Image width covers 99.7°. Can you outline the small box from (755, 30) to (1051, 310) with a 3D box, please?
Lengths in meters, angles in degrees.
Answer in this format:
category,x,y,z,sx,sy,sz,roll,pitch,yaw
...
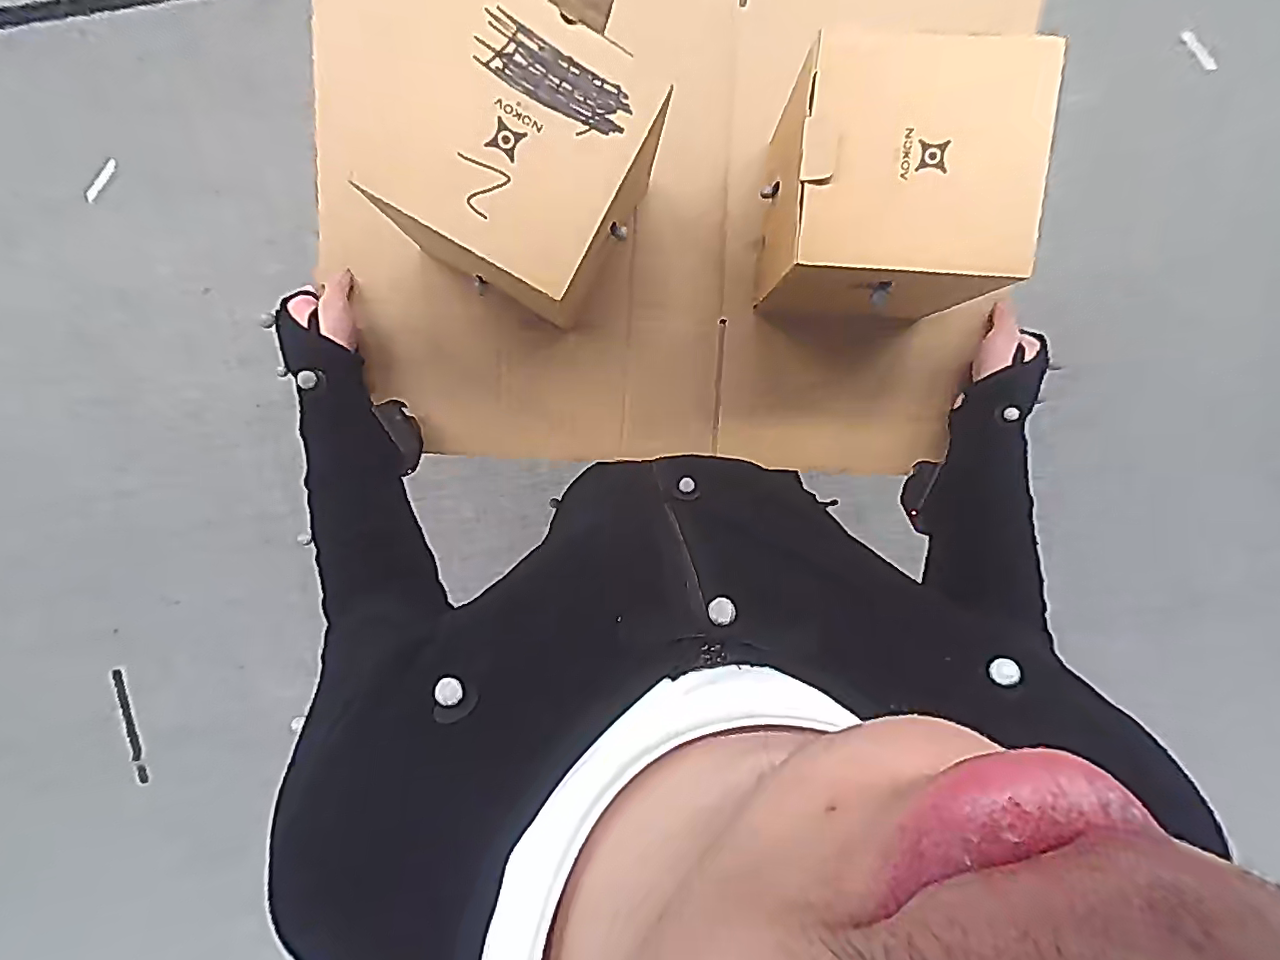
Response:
category,x,y,z,sx,sy,sz,roll,pitch,yaw
small box,0.212,-0.254,0.486,0.179,0.176,0.168,4,97,2
